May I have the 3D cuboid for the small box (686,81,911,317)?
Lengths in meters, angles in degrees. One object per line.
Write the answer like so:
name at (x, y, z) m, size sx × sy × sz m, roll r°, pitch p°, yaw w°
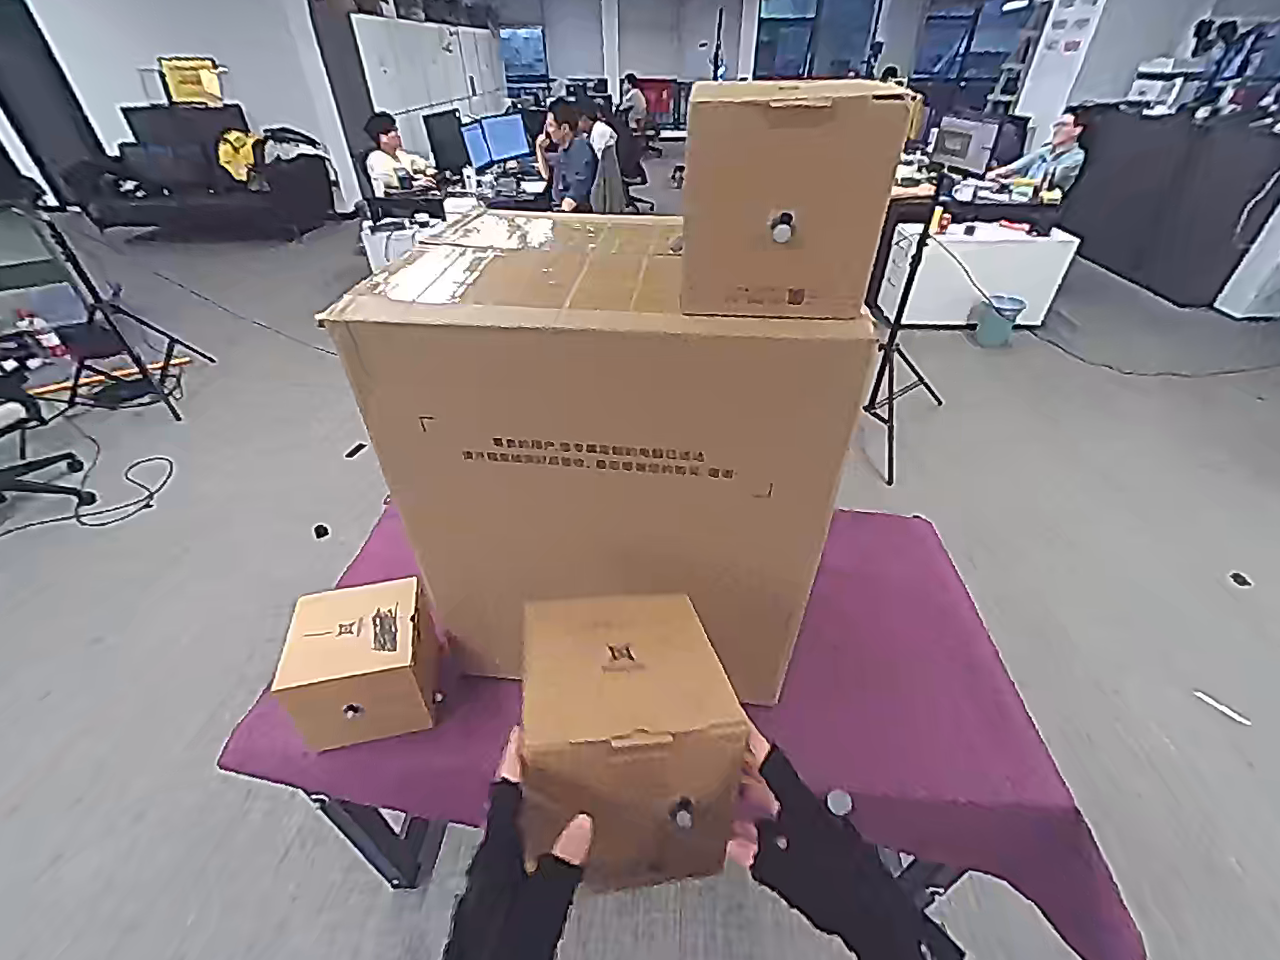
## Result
small box at (0.131, -0.267, 0.516) m, size 0.168 × 0.176 × 0.179 m, roll 3°, pitch 40°, yaw 5°
